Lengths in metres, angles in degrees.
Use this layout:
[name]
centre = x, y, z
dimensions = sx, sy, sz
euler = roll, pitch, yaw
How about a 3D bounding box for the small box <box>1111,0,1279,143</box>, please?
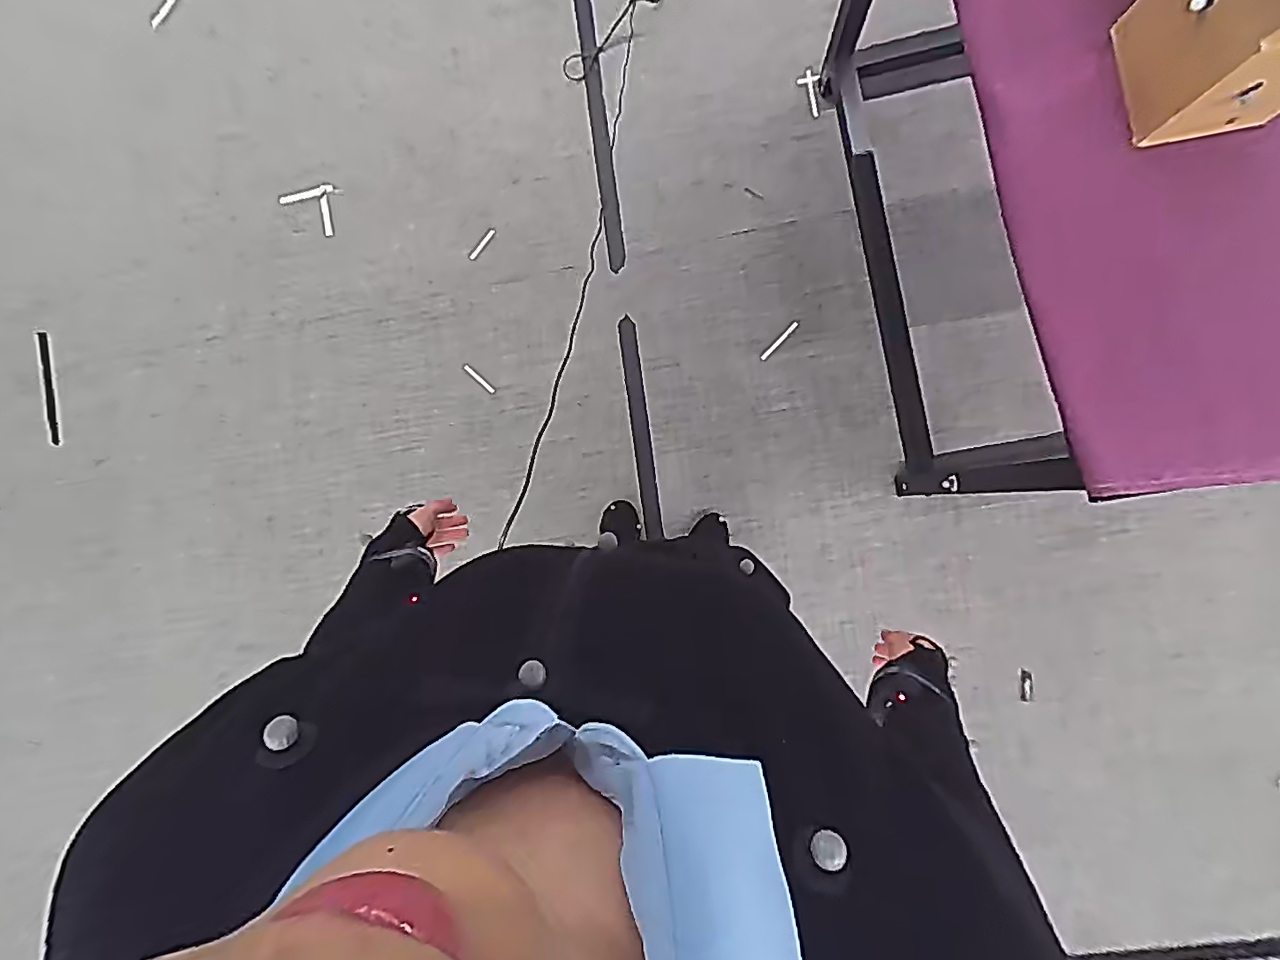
[small box]
centre = 0.733, -0.546, 0.658
dimensions = 0.168, 0.176, 0.179
euler = -9, 87, 5
